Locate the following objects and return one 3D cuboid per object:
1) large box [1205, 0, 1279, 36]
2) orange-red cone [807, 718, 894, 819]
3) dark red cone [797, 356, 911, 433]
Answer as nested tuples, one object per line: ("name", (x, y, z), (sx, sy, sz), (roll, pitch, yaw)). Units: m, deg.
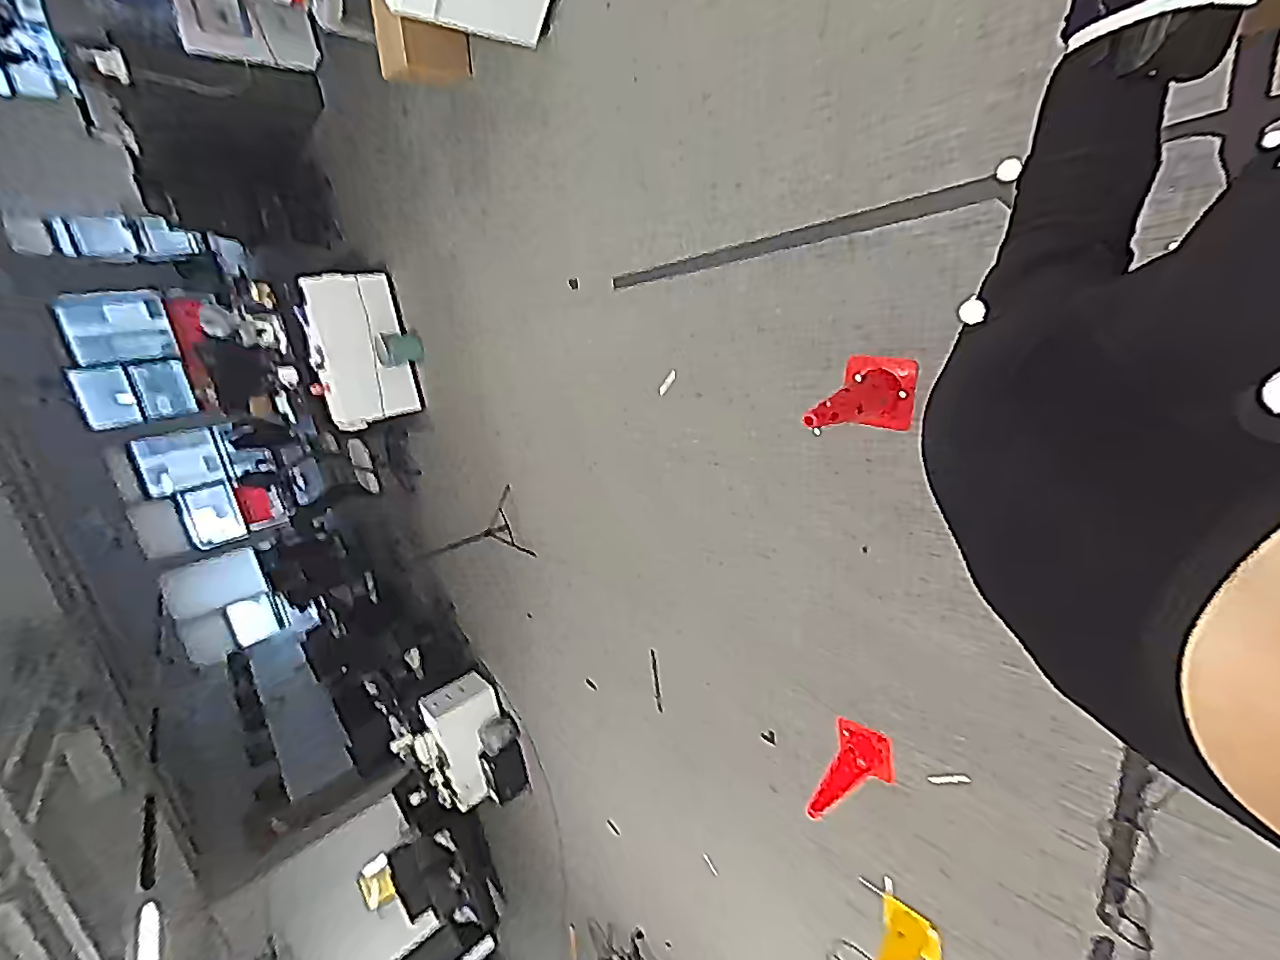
("large box", (0.566, -0.456, 0.228), (0.408, 0.320, 0.320), (20, 127, 44))
("orange-red cone", (0.685, 1.023, 1.843), (0.198, 0.360, 0.199), (8, 114, 50))
("dark red cone", (0.531, -0.194, 1.411), (0.201, 0.394, 0.202), (17, 120, 45))
